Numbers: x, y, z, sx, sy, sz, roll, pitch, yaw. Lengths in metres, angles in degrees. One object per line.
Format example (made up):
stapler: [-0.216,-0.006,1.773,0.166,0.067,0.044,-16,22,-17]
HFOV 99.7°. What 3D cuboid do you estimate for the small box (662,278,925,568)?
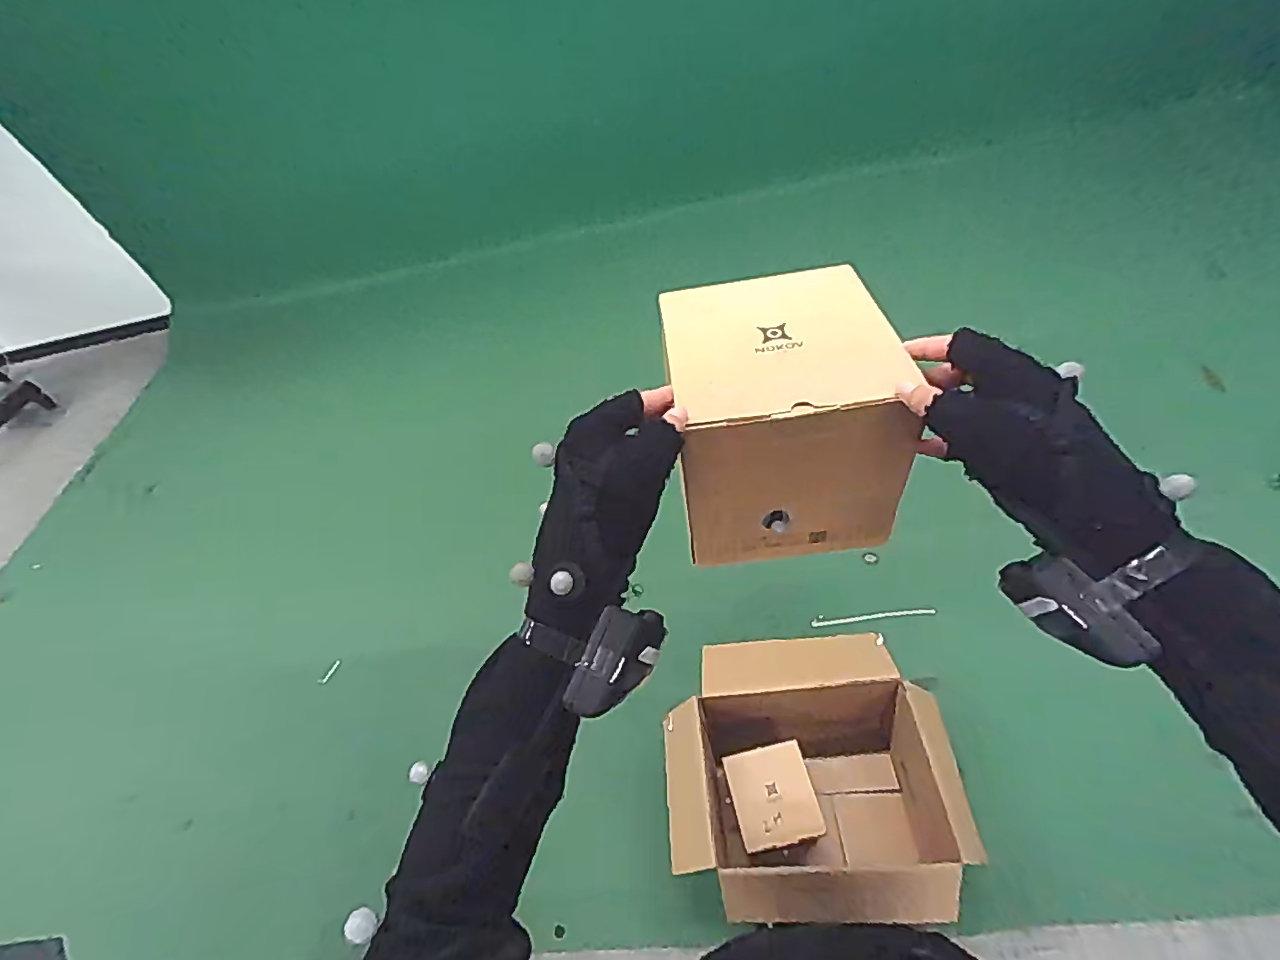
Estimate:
small box: [0.112,-0.047,0.470,0.168,0.176,0.179,-8,47,4]
